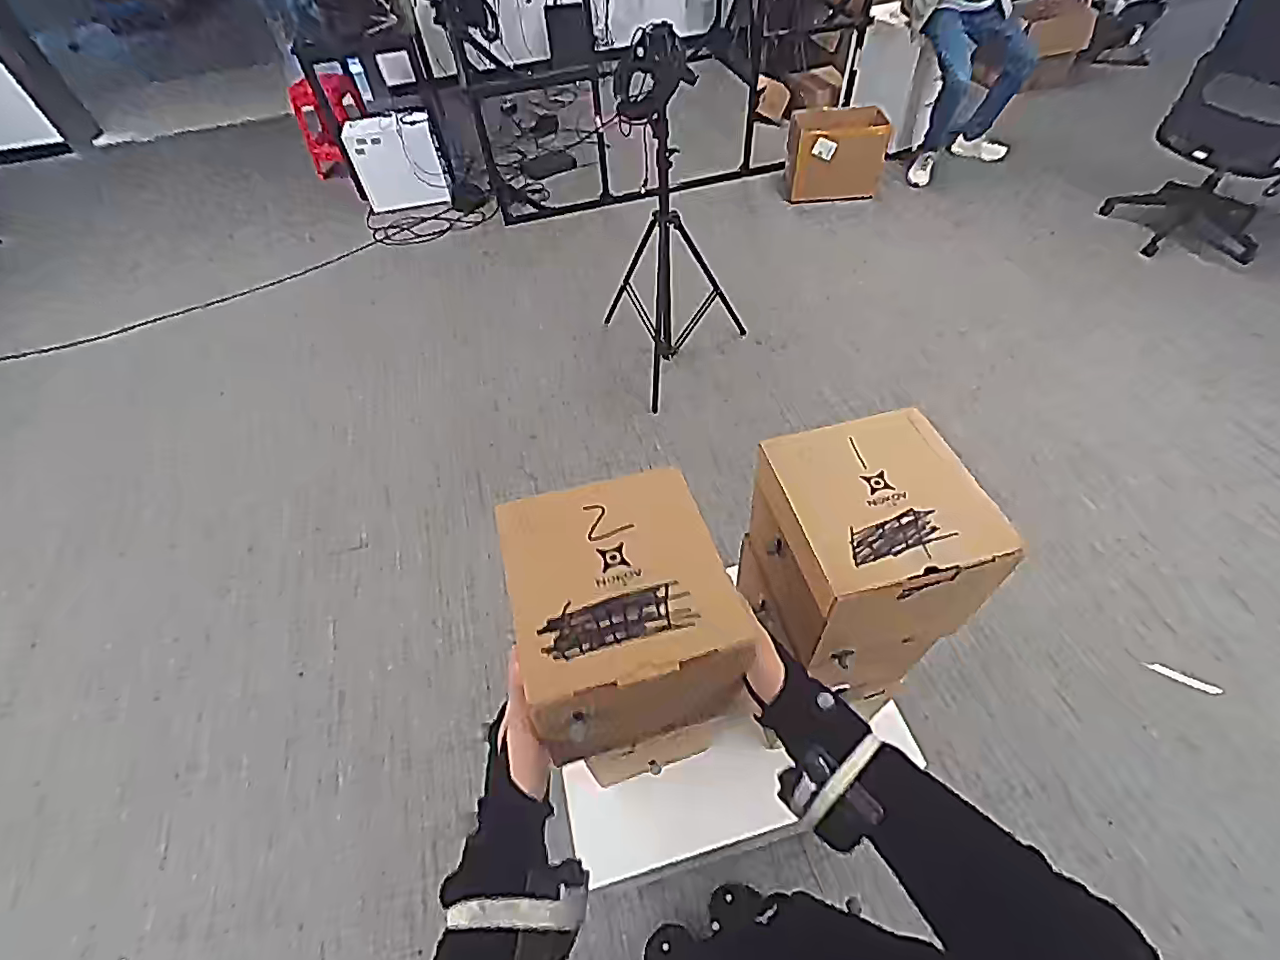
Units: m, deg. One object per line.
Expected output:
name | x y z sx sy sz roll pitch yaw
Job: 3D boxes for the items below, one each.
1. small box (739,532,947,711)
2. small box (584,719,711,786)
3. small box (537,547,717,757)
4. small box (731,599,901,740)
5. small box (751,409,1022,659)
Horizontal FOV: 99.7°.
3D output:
small box | 0.230 0.161 0.672 0.168 0.176 0.179 -15 53 -5
small box | -0.008 0.311 0.780 0.168 0.176 0.179 -16 53 -8
small box | -0.014 0.213 0.650 0.168 0.176 0.179 -15 52 -8
small box | 0.242 0.266 0.794 0.168 0.176 0.179 -13 54 -6
small box | 0.219 0.061 0.541 0.168 0.176 0.179 -13 51 -4
